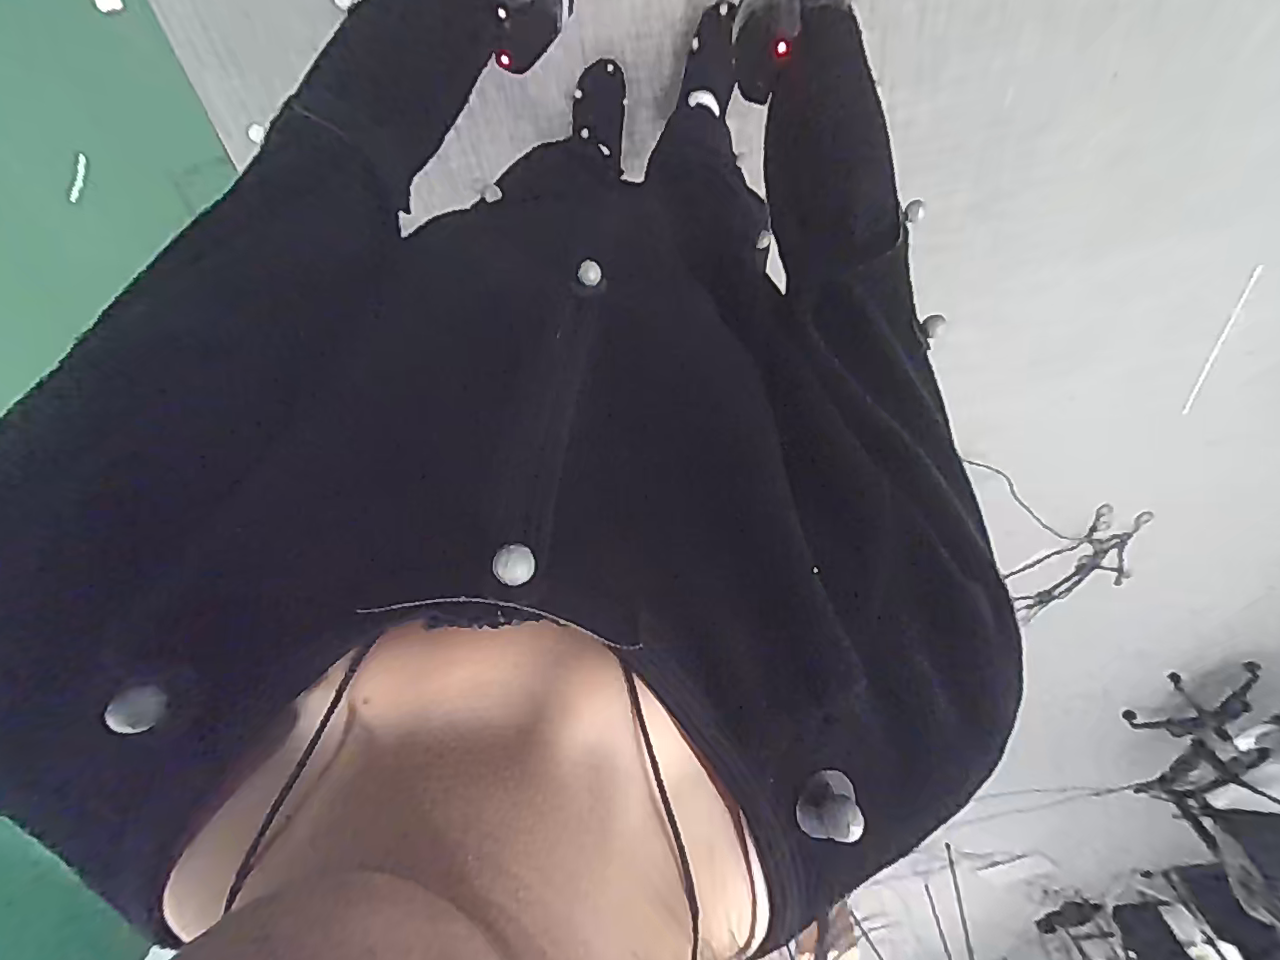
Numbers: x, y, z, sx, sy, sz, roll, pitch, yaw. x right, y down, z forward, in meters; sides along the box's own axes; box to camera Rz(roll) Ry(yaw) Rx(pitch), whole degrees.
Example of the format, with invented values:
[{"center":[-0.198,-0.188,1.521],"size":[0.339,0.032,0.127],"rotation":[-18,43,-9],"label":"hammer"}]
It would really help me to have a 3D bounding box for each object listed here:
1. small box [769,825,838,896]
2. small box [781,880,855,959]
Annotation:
[{"center":[0.531,1.254,1.770],"size":[0.179,0.176,0.168],"rotation":[-11,127,5],"label":"small box"},{"center":[0.534,1.349,1.639],"size":[0.179,0.176,0.168],"rotation":[-13,126,5],"label":"small box"}]
